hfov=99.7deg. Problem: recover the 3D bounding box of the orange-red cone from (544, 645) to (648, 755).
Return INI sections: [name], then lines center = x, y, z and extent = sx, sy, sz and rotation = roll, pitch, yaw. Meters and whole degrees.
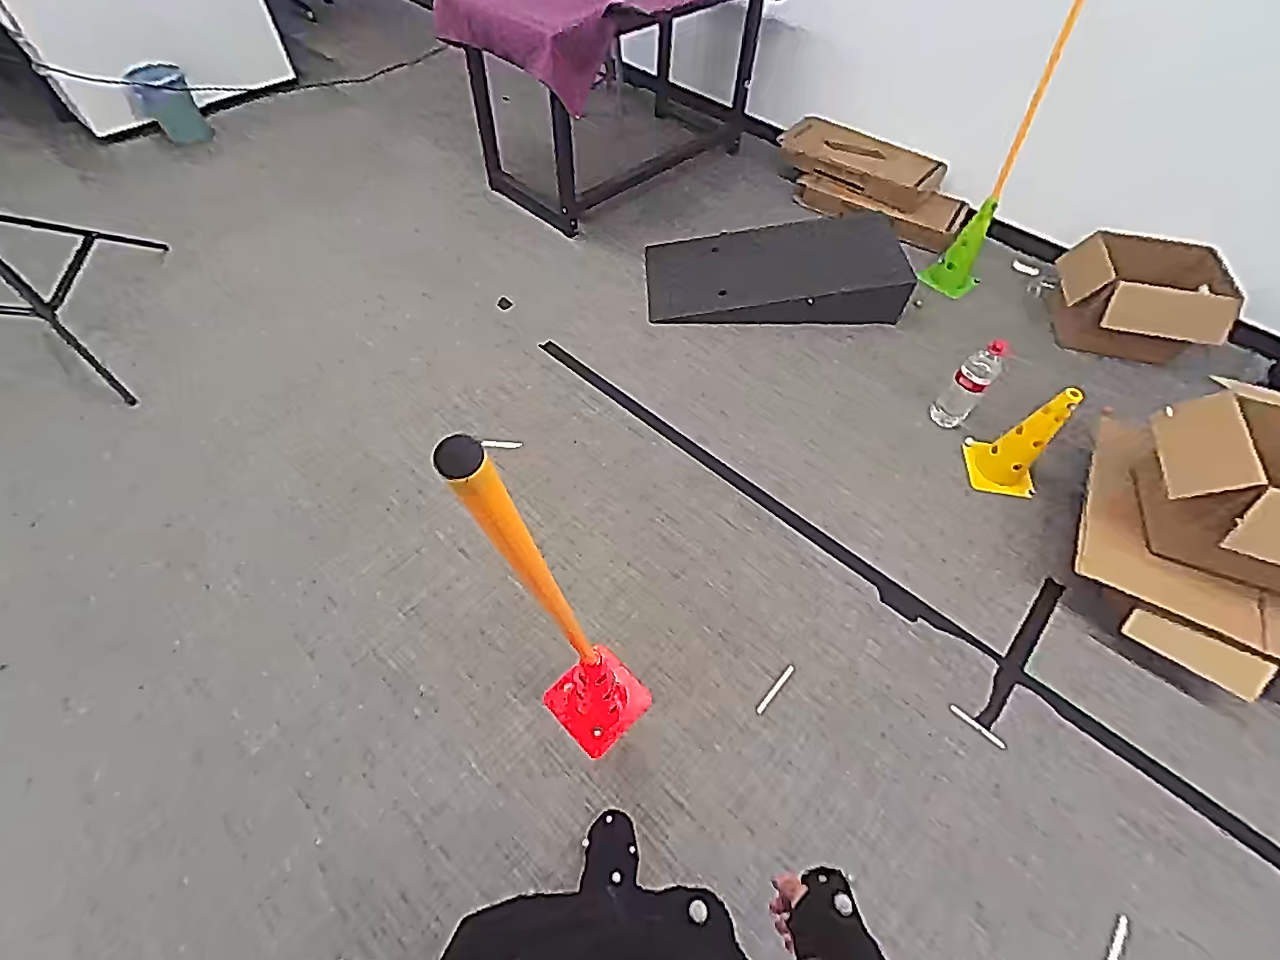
[orange-red cone]
center = -0.098, 0.429, 1.163
extent = 0.199, 0.360, 0.198
rotation = -38, 66, -25
